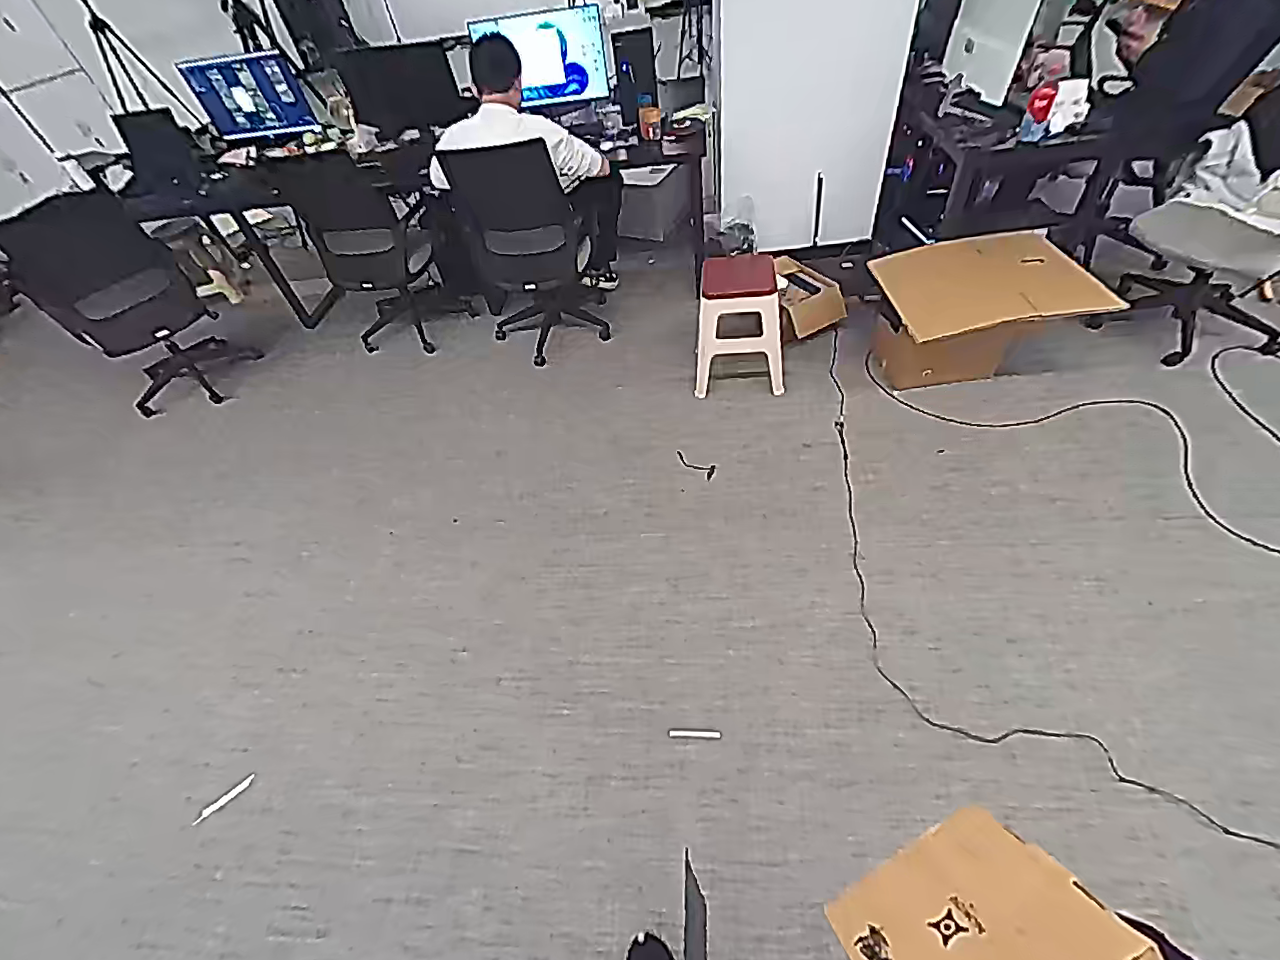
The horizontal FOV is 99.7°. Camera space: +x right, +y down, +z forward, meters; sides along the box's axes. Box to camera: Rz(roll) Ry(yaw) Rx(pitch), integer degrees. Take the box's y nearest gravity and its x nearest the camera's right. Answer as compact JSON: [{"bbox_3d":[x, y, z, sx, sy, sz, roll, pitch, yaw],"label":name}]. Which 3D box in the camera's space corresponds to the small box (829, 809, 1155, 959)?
[{"bbox_3d":[0.294,0.422,0.431,0.179,0.168,0.176,-29,89,-5],"label":"small box"}]
